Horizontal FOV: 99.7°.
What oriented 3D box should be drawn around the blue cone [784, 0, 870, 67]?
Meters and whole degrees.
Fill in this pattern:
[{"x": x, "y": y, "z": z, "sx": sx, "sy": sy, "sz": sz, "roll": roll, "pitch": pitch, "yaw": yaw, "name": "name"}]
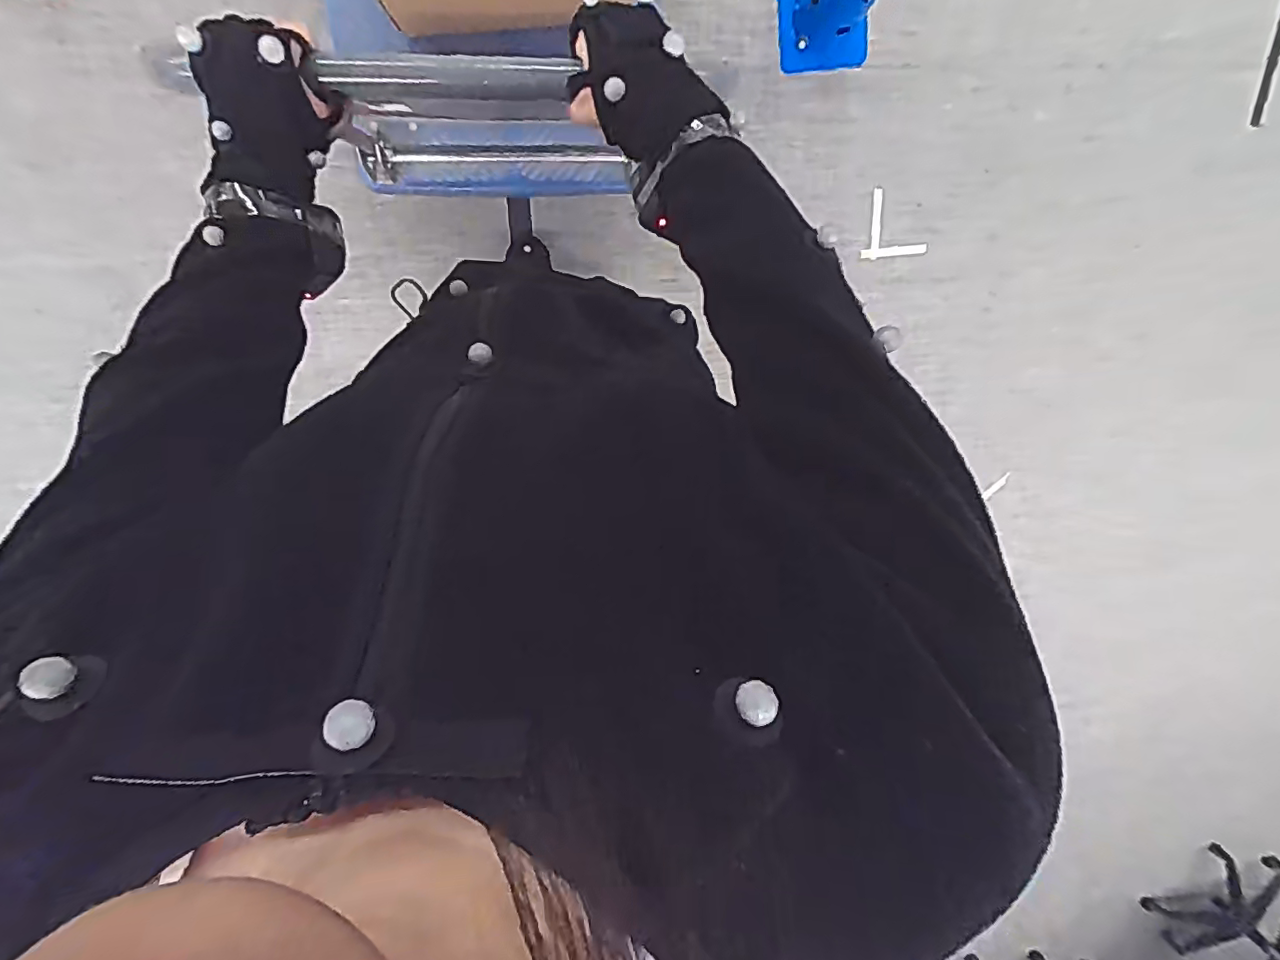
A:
[{"x": 0.423, "y": -0.951, "z": 1.006, "sx": 0.193, "sy": 0.380, "sz": 0.192, "roll": -8, "pitch": 109, "yaw": -5, "name": "blue cone"}]
